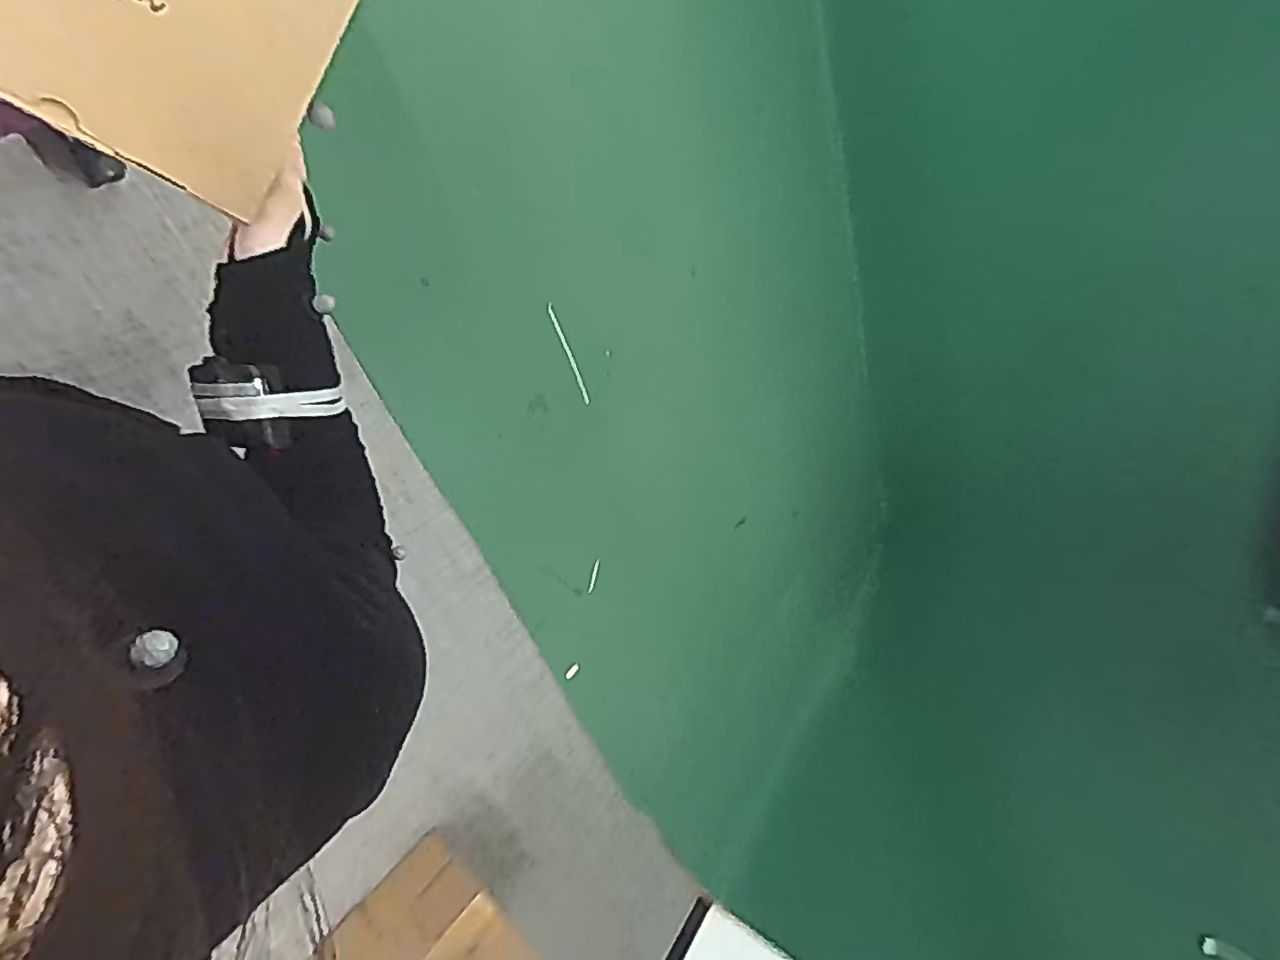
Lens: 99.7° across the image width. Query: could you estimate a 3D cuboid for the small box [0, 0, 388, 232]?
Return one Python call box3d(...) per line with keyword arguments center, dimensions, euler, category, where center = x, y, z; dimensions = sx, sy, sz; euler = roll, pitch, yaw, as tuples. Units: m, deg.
box3d(center=(-0.270, -0.281, 0.309), dimensions=(0.168, 0.176, 0.179), euler=(25, 103, -44), category="small box")
